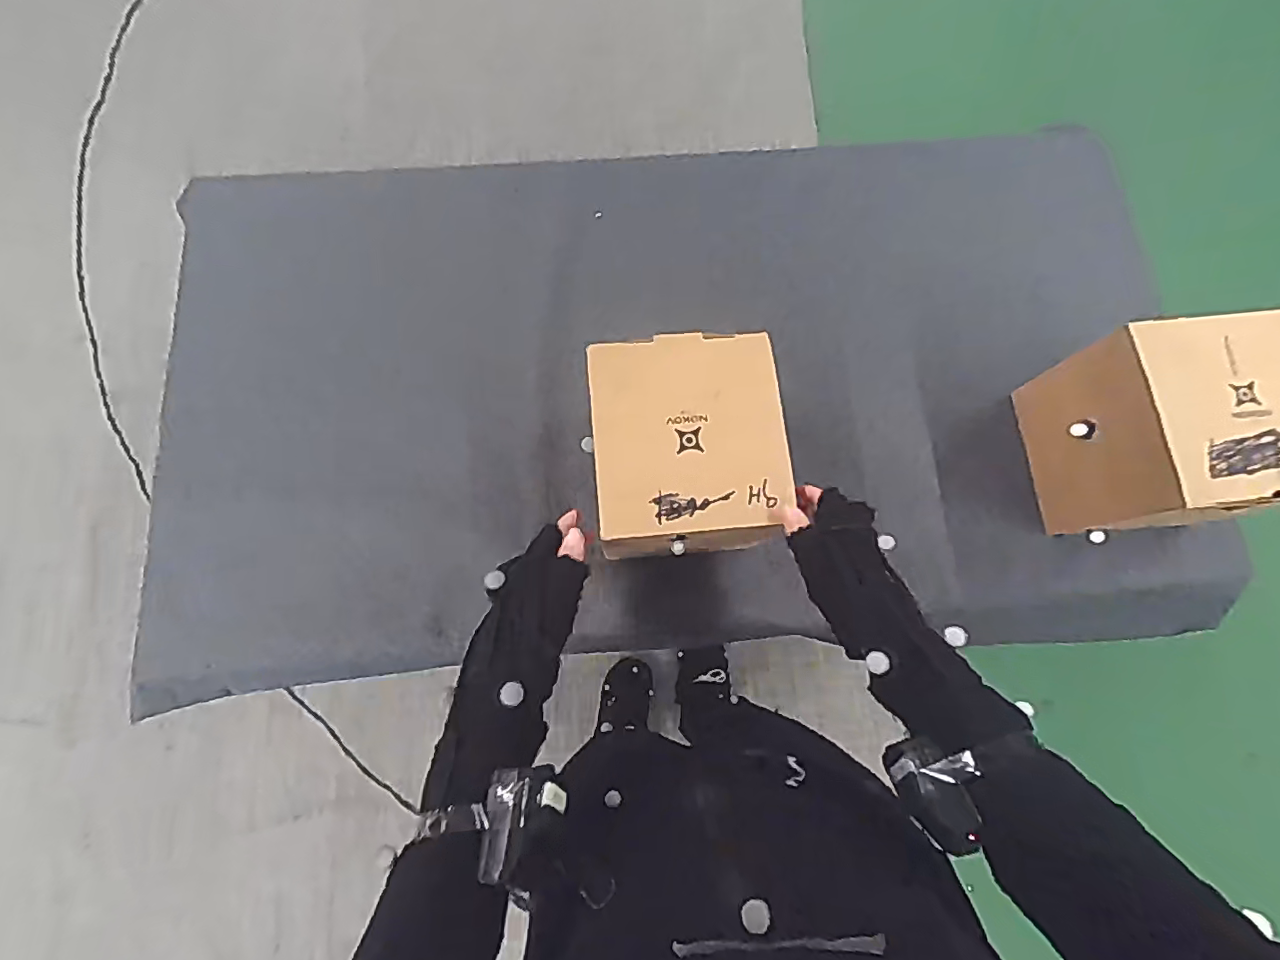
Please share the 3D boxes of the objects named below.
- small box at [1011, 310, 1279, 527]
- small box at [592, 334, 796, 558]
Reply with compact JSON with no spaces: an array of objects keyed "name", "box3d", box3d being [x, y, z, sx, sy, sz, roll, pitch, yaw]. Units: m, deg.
[{"name":"small box","box3d":[0.531,-0.049,0.559,0.168,0.176,0.179,-5,75,0]},{"name":"small box","box3d":[0.041,-0.024,0.544,0.168,0.176,0.179,-5,75,-2]}]
